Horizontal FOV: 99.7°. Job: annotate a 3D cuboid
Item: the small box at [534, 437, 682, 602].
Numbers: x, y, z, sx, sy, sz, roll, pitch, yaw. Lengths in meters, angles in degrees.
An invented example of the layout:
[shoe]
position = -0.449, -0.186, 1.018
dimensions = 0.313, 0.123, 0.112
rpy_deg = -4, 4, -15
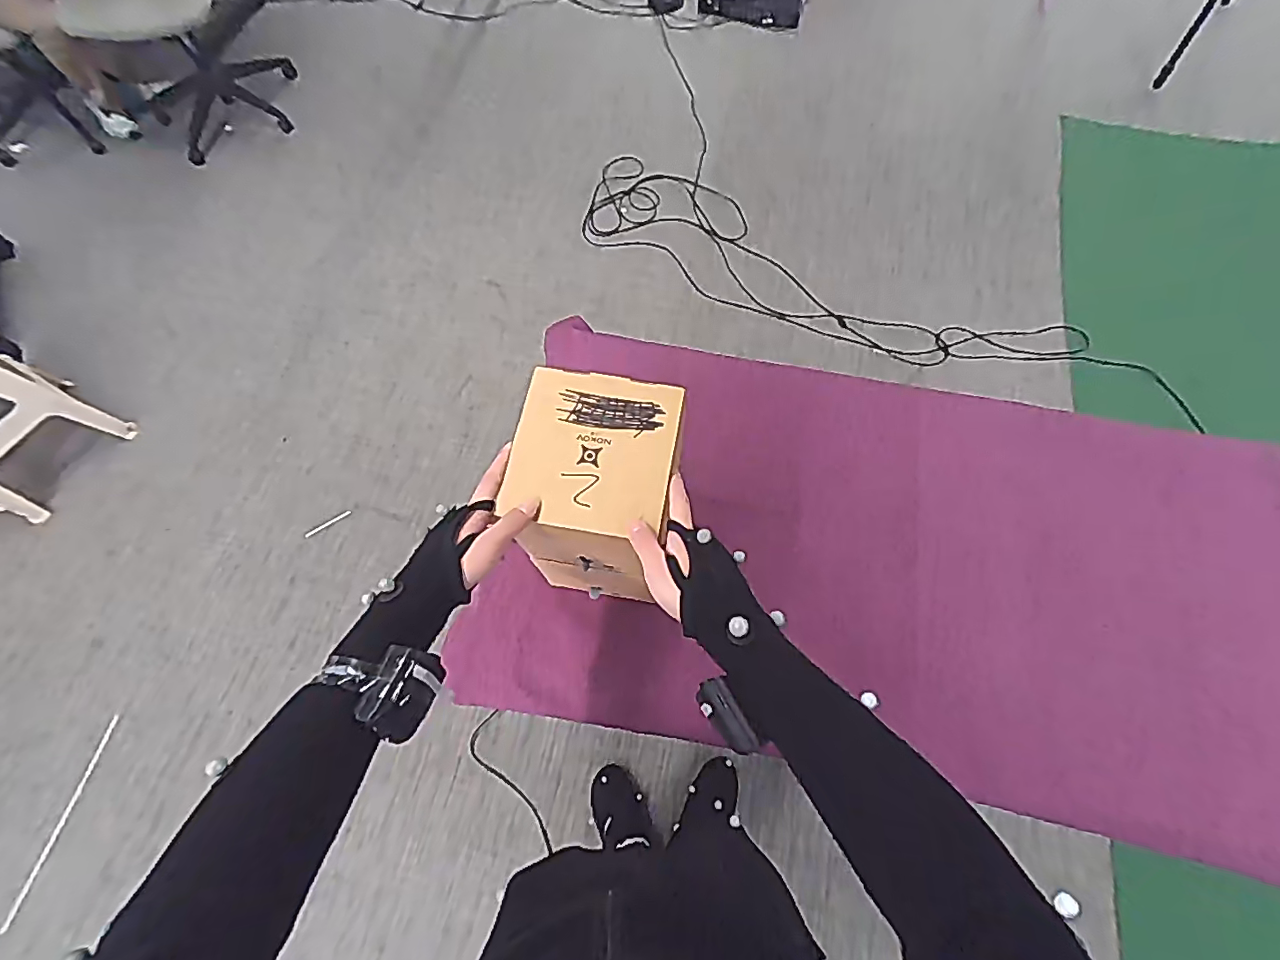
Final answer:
[small box]
position = -0.039, 0.063, 0.777
dimensions = 0.168, 0.176, 0.179
rpy_deg = 9, 68, 4
